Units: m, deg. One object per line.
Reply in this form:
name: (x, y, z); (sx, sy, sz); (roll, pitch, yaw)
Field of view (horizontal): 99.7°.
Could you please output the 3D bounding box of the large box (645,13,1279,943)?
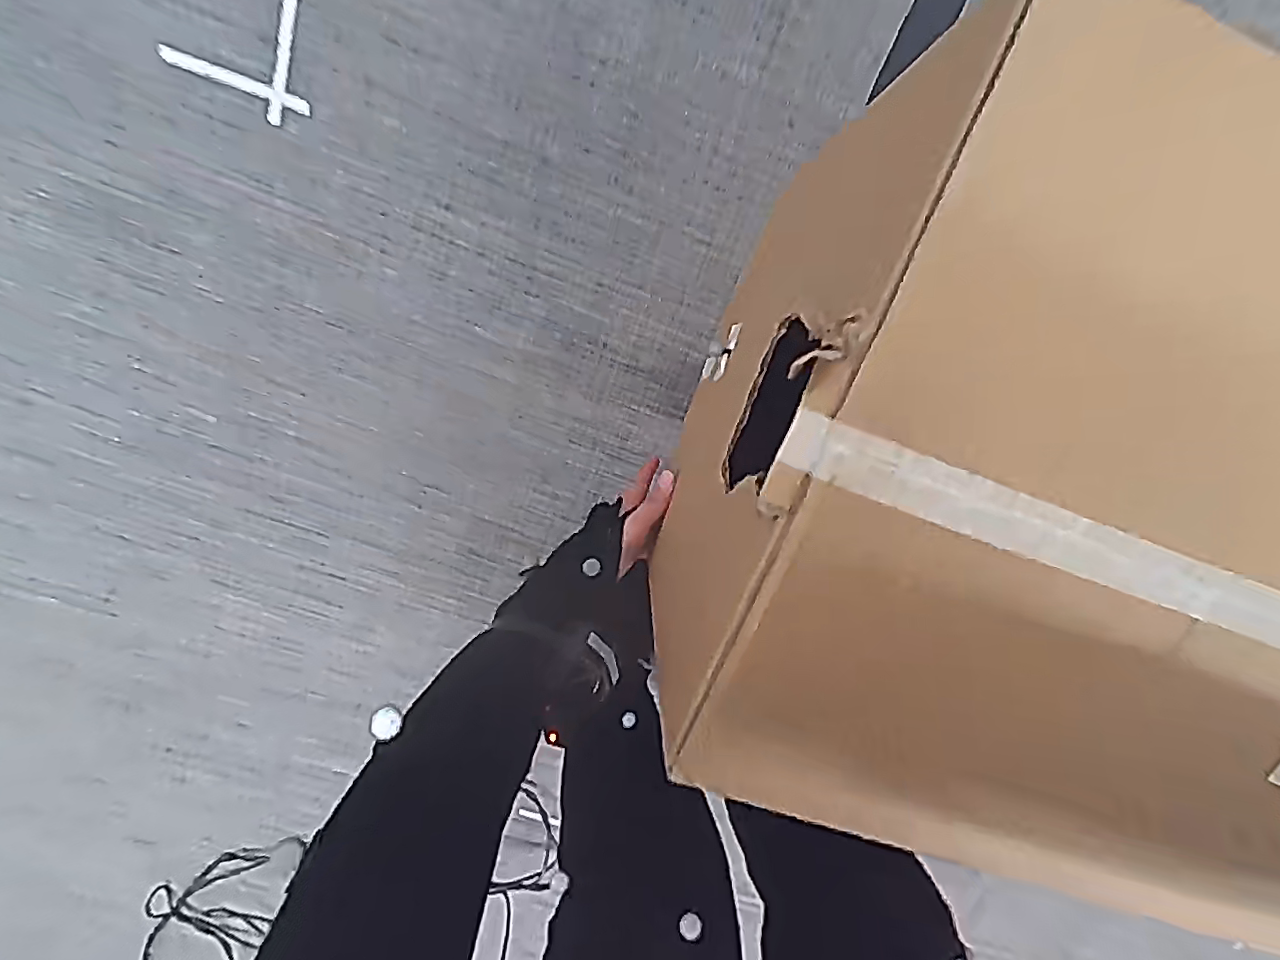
large box: (0.242, 0.016, 0.363); (0.408, 0.320, 0.320); (18, 105, -7)
